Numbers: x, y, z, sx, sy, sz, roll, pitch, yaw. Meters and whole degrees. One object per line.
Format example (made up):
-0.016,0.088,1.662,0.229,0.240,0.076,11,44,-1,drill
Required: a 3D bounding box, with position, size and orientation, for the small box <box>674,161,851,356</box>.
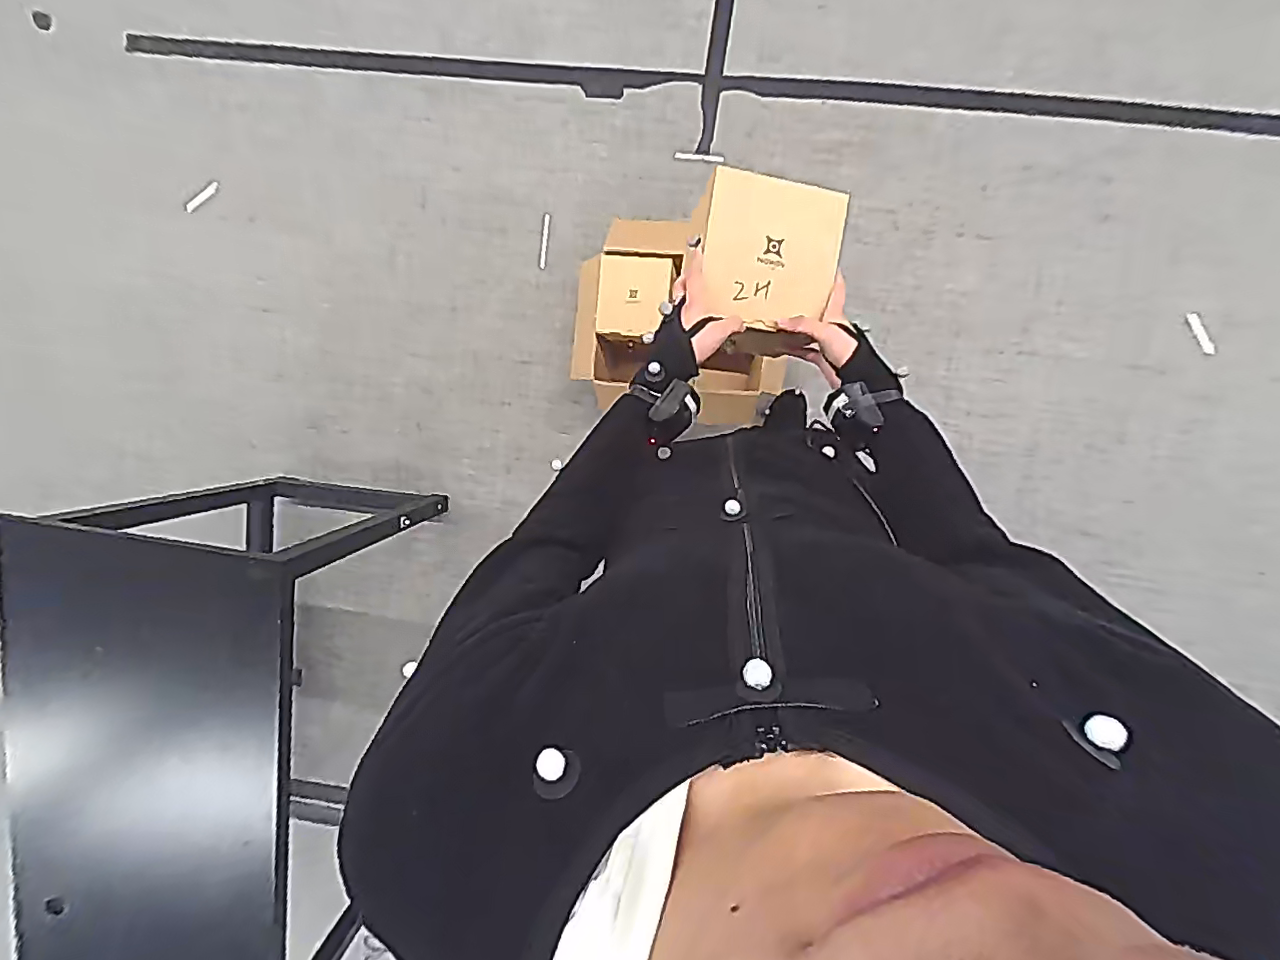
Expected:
0.147,-0.274,0.711,0.168,0.176,0.179,9,94,-7,small box
